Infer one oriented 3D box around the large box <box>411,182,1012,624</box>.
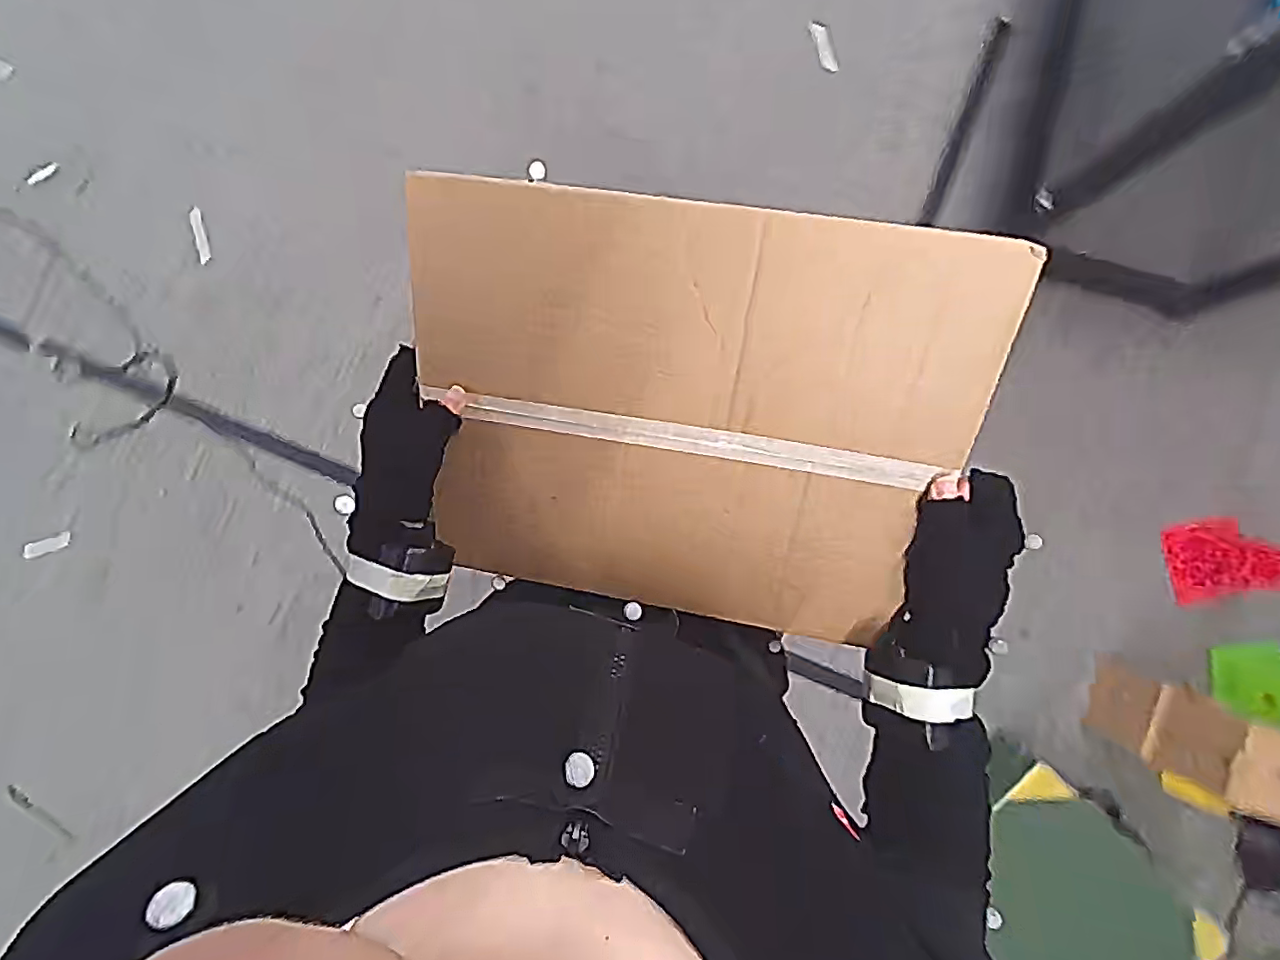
[{"bbox_3d":[0.045,-0.102,0.549,0.408,0.320,0.320,9,117,6],"label":"large box"}]
